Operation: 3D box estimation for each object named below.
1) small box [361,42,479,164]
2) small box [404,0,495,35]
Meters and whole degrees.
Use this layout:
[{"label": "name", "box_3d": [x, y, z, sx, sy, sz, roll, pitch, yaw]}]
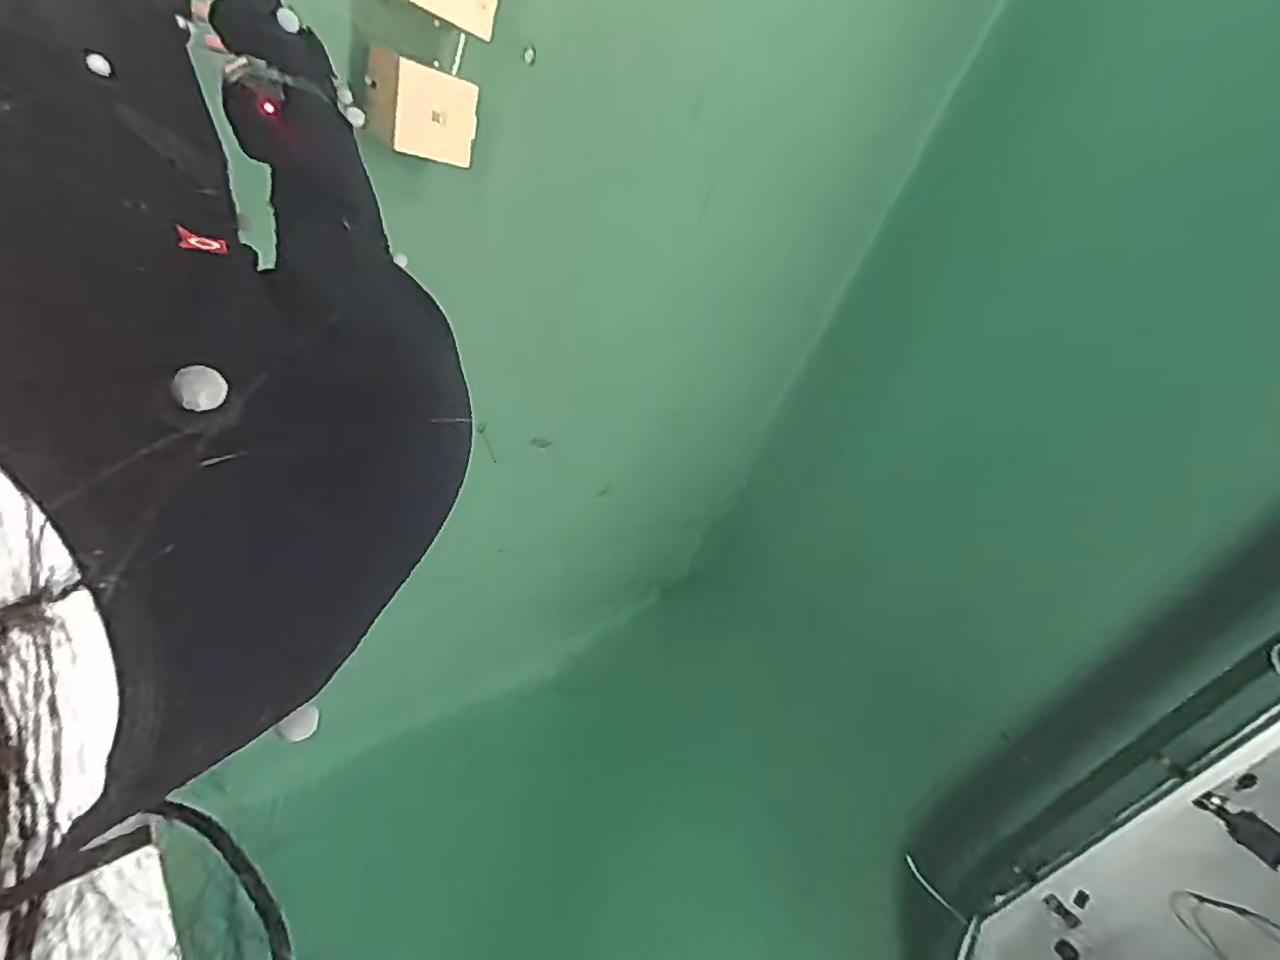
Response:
[{"label": "small box", "box_3d": [-0.484, -0.827, 1.188, 0.179, 0.176, 0.168, -14, 136, -45]}, {"label": "small box", "box_3d": [-0.398, -1.026, 1.067, 0.179, 0.176, 0.168, -11, 134, -47]}]
